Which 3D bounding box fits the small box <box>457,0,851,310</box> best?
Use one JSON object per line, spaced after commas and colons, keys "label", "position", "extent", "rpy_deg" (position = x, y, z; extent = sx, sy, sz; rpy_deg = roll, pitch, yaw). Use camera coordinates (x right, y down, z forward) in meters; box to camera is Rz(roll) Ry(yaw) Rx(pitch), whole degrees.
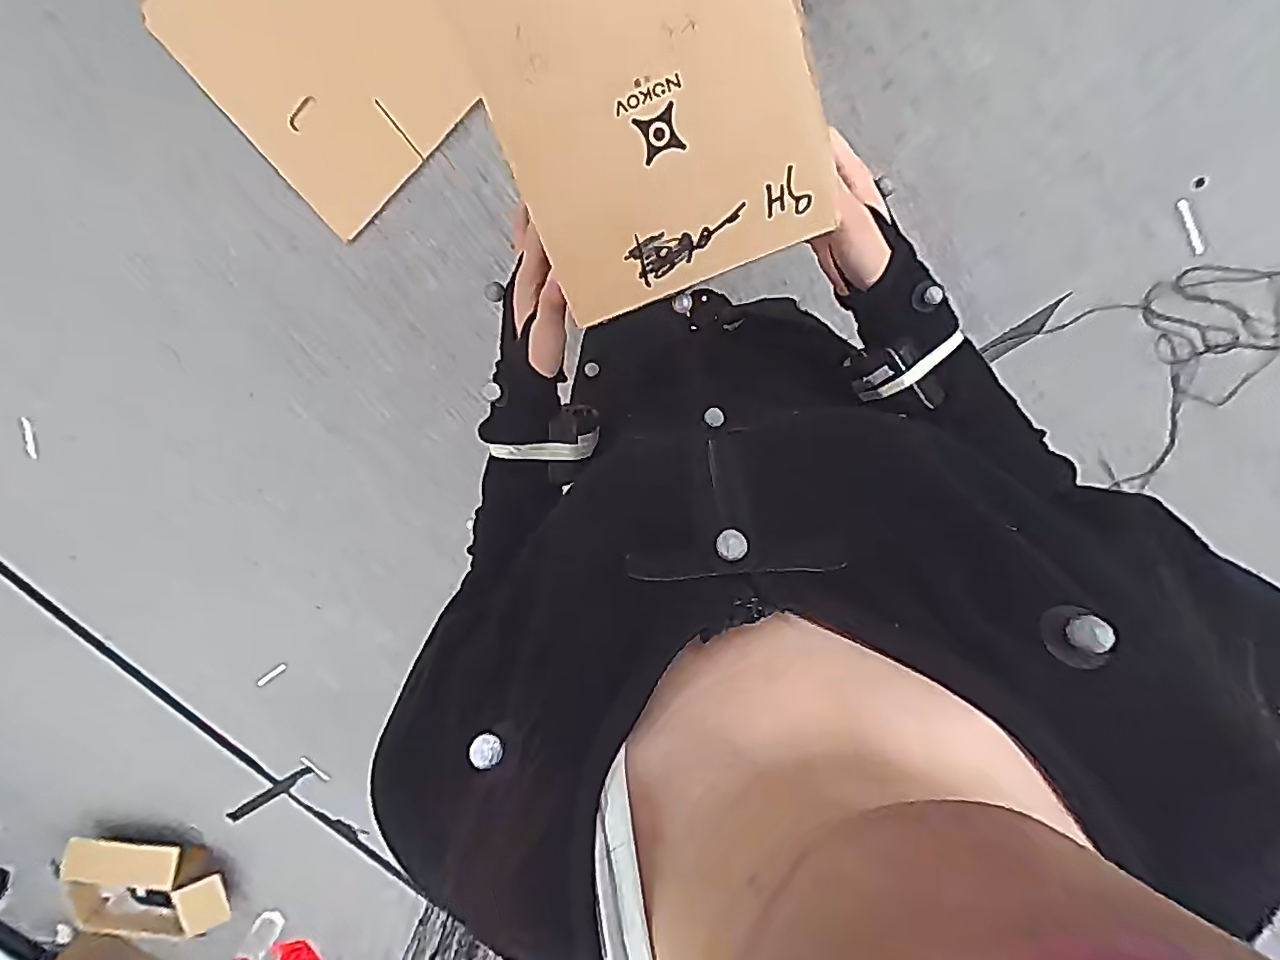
{"label": "small box", "position": [0.013, -0.227, 0.352], "extent": [0.168, 0.176, 0.179], "rpy_deg": [-18, 110, 10]}
